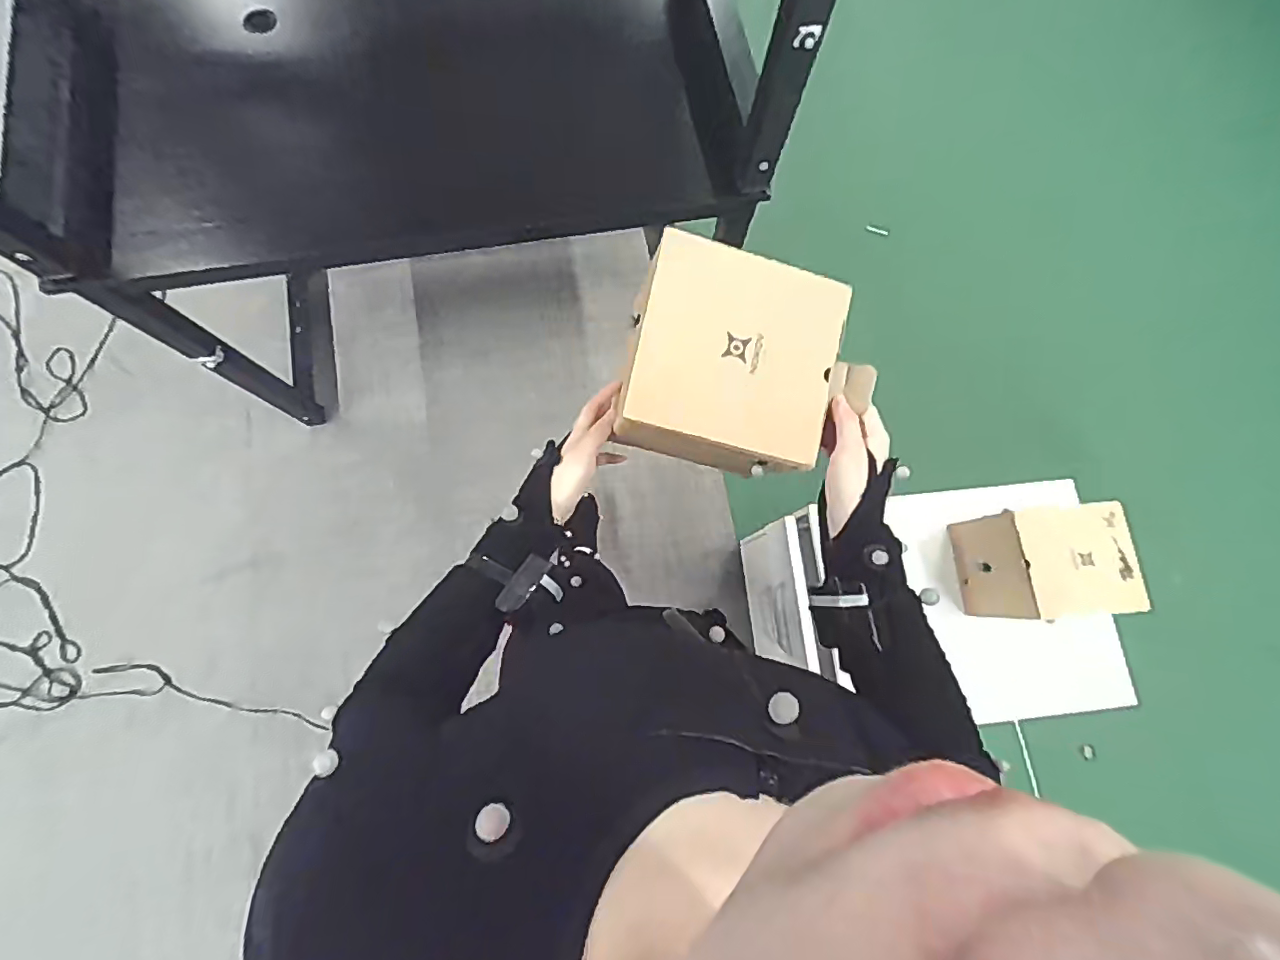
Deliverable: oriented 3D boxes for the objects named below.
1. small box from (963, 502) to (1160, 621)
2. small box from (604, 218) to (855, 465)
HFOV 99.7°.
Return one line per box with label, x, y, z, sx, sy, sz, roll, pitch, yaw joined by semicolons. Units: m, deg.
small box;0.649;0.135;0.864;0.179;0.176;0.168;-5;78;-3
small box;0.069;-0.111;0.518;0.179;0.176;0.168;13;87;-9
